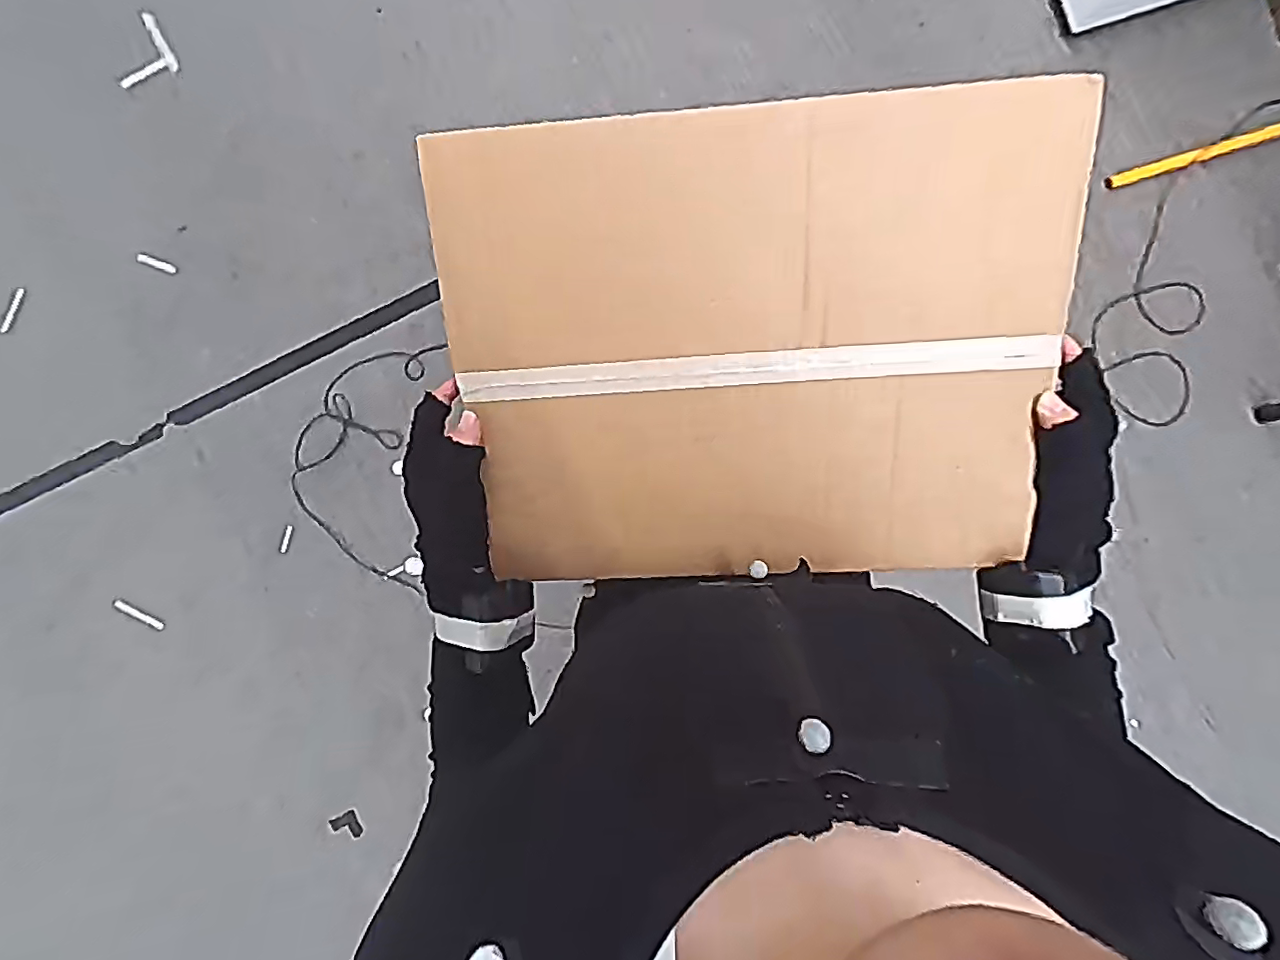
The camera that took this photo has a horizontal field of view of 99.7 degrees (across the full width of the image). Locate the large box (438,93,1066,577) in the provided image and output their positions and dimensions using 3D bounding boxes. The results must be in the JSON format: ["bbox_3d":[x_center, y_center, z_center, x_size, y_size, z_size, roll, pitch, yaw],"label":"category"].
[{"bbox_3d":[0.080,-0.123,0.528,0.408,0.320,0.320,-3,109,4],"label":"large box"}]
